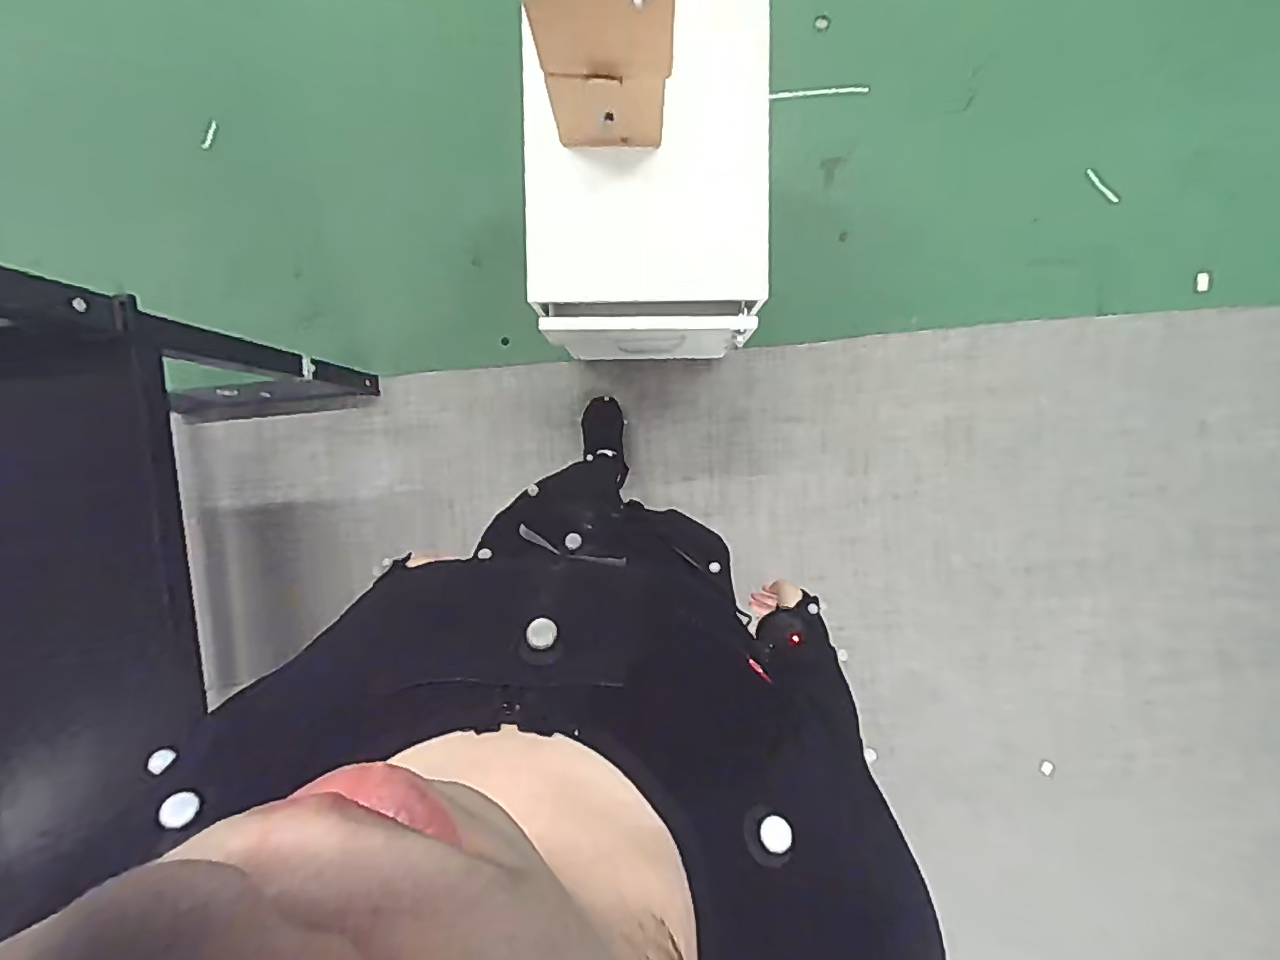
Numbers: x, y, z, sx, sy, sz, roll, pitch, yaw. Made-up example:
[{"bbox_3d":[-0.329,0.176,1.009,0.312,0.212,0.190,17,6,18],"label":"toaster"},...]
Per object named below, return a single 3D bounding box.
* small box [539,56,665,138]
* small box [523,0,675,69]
[{"bbox_3d":[-0.047,-0.618,0.771,0.168,0.176,0.179,0,94,0],"label":"small box"},{"bbox_3d":[-0.045,-0.605,0.609,0.179,0.176,0.168,3,93,0],"label":"small box"}]
